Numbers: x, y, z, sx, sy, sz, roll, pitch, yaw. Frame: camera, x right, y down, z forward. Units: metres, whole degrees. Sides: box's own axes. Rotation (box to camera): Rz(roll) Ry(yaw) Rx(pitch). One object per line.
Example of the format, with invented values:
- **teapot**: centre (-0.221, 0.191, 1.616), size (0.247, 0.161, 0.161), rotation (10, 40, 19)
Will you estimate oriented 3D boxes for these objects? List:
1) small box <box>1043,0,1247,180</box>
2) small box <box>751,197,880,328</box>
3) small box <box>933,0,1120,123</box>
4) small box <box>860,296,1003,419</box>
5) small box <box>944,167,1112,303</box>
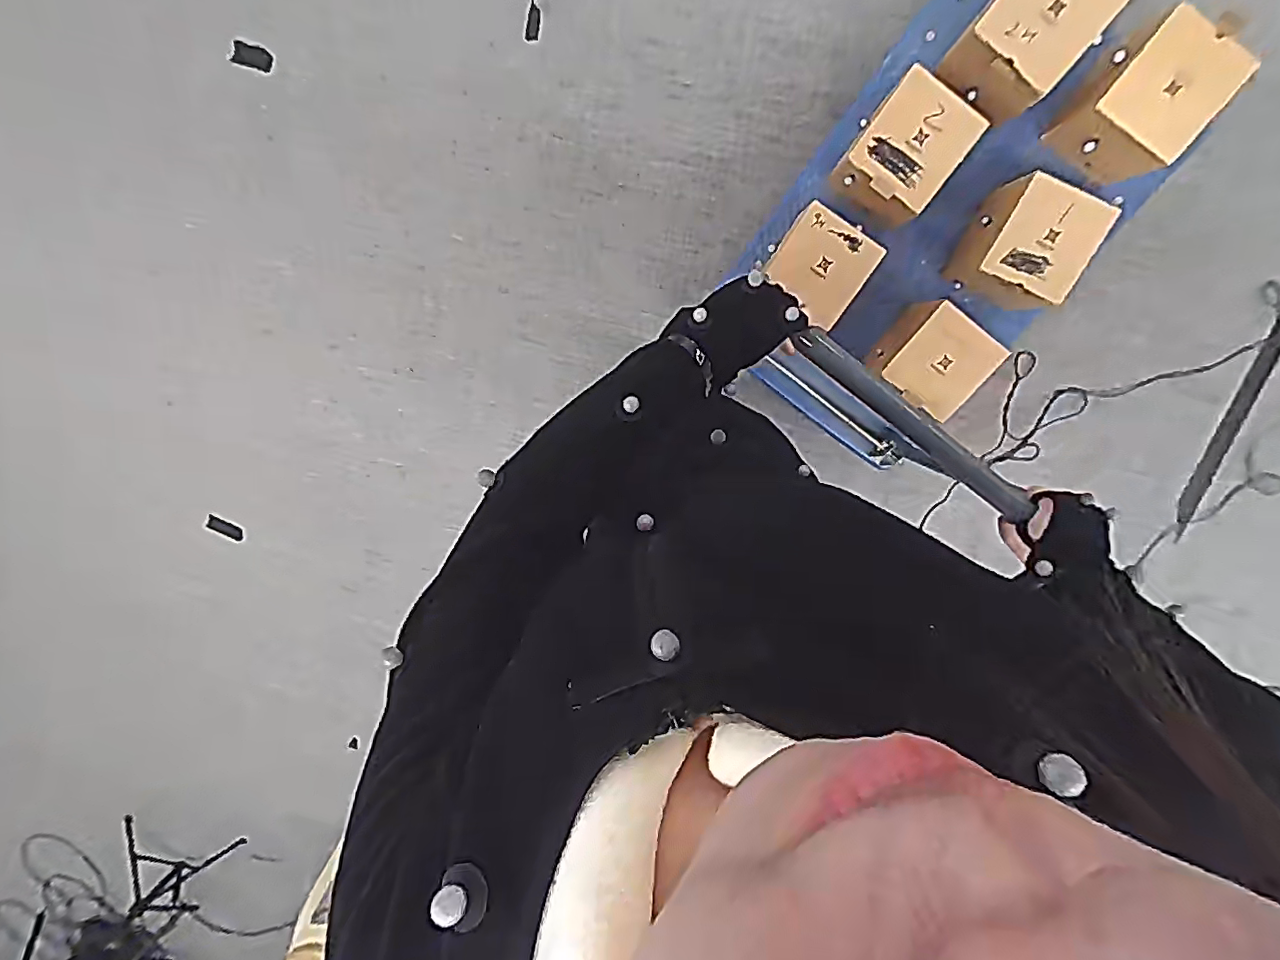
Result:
- **small box**: centre (0.869, -0.671, 0.959), size (0.168, 0.176, 0.179), rotation (34, 107, -4)
- **small box**: centre (0.338, -0.425, 1.085), size (0.168, 0.176, 0.179), rotation (33, 107, -5)
- **small box**: centre (0.661, -0.780, 0.947), size (0.168, 0.176, 0.179), rotation (38, 107, -6)
- **small box**: centre (0.580, -0.253, 1.112), size (0.168, 0.176, 0.179), rotation (37, 106, -6)
- **small box**: centre (0.722, -0.454, 1.037), size (0.168, 0.176, 0.179), rotation (25, 107, -2)
